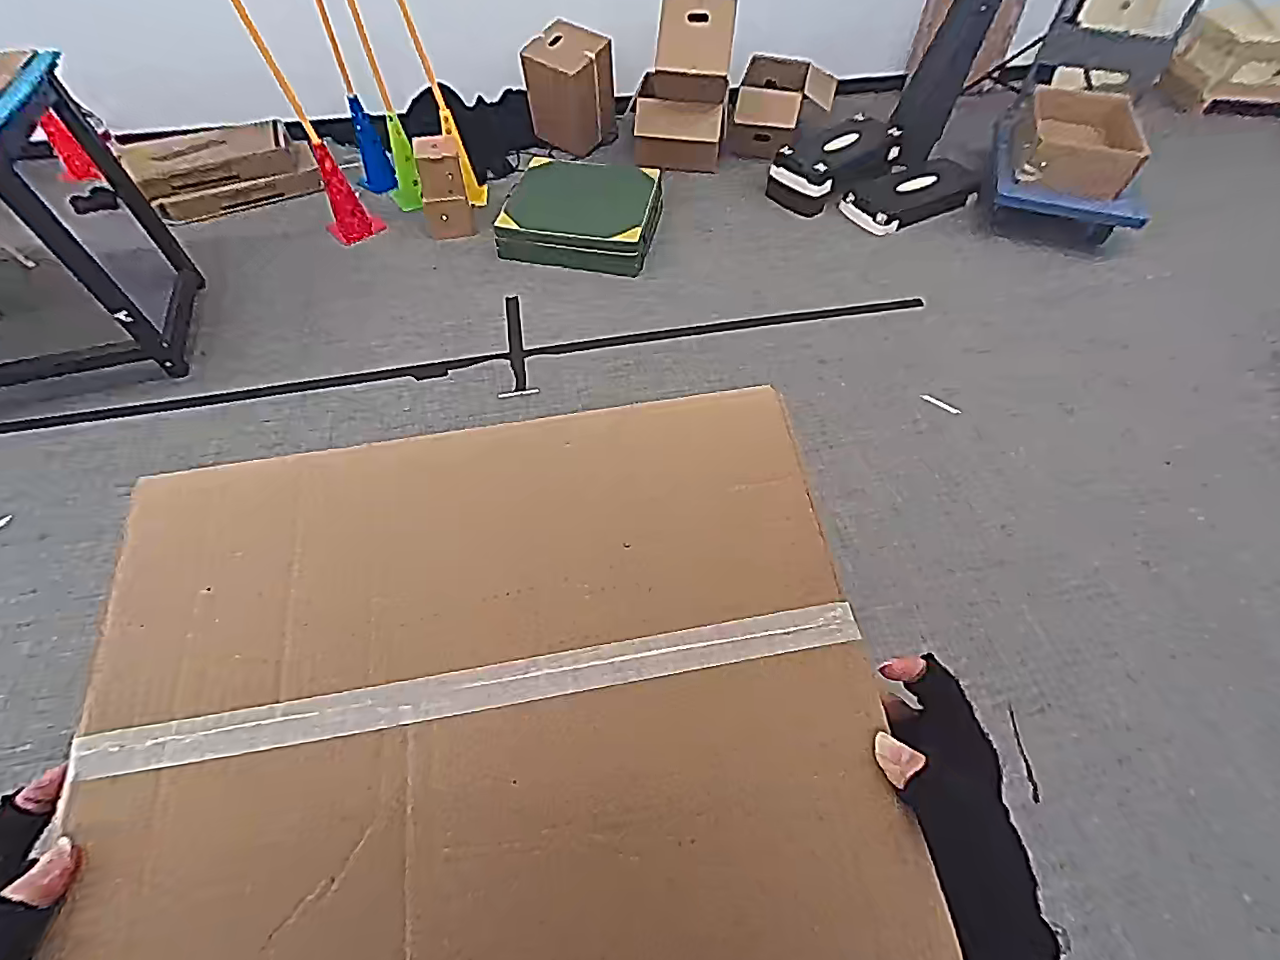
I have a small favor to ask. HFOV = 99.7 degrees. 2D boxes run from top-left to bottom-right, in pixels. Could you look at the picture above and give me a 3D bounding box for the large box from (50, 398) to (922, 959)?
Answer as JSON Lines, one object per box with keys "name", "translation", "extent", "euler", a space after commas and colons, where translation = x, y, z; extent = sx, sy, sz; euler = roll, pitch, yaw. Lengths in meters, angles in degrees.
{"name": "large box", "translation": [-0.085, 0.172, 0.430], "extent": [0.408, 0.320, 0.320], "euler": [-9, 65, -3]}
